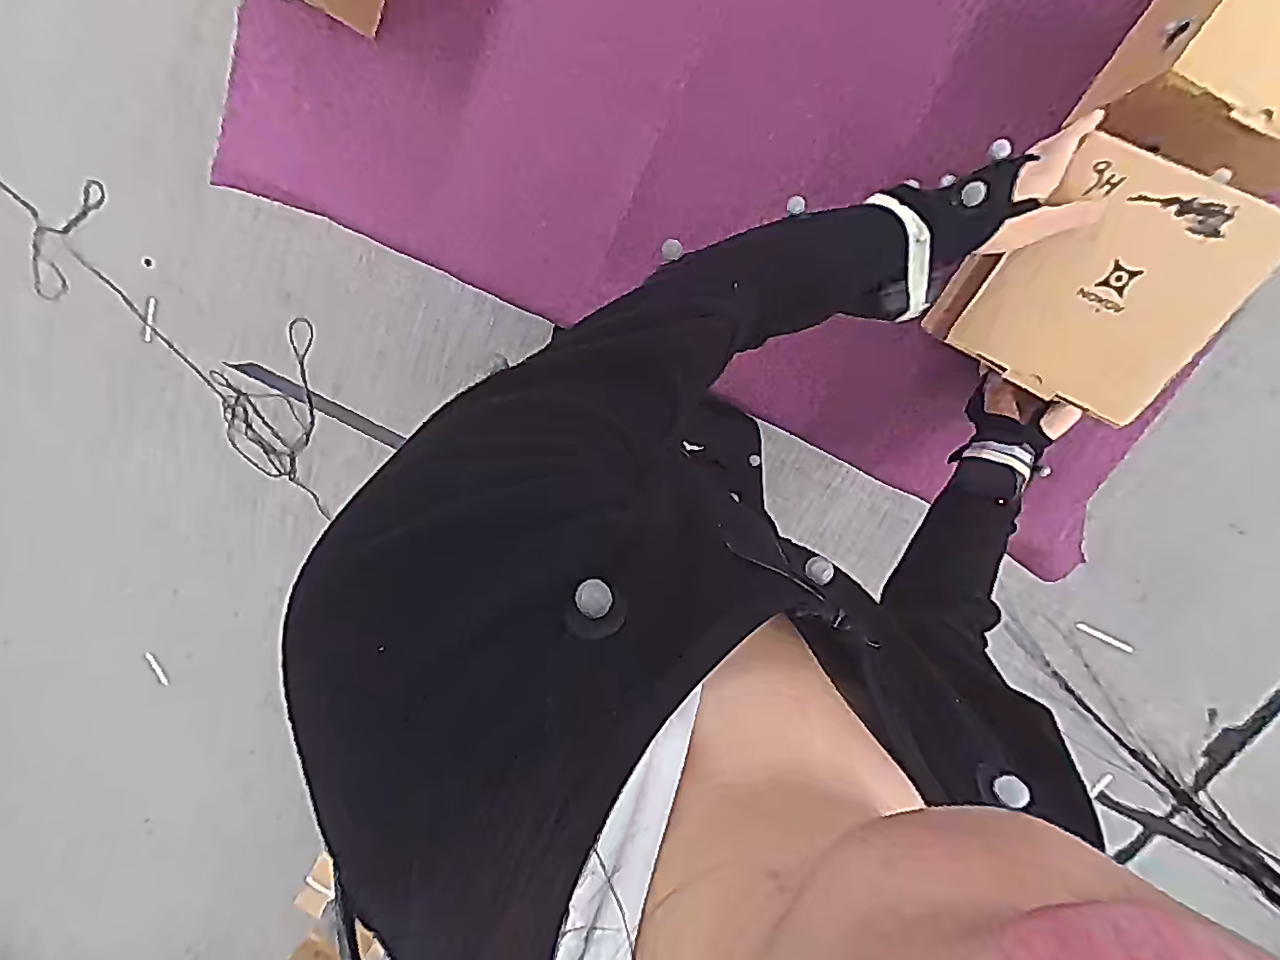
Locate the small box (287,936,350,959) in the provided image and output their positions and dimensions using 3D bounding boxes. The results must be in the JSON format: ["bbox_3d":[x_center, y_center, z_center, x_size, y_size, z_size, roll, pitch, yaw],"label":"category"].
[{"bbox_3d":[-0.944,1.451,1.529,0.168,0.176,0.179,19,109,5],"label":"small box"}]

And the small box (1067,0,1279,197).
[{"bbox_3d":[0.538,-0.374,0.472,0.168,0.176,0.179,30,113,0],"label":"small box"}]

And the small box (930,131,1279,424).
[{"bbox_3d":[0.402,-0.183,0.509,0.168,0.176,0.179,31,118,7],"label":"small box"}]

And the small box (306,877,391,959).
[{"bbox_3d":[-0.916,1.393,1.679,0.179,0.176,0.168,34,108,0],"label":"small box"}]
